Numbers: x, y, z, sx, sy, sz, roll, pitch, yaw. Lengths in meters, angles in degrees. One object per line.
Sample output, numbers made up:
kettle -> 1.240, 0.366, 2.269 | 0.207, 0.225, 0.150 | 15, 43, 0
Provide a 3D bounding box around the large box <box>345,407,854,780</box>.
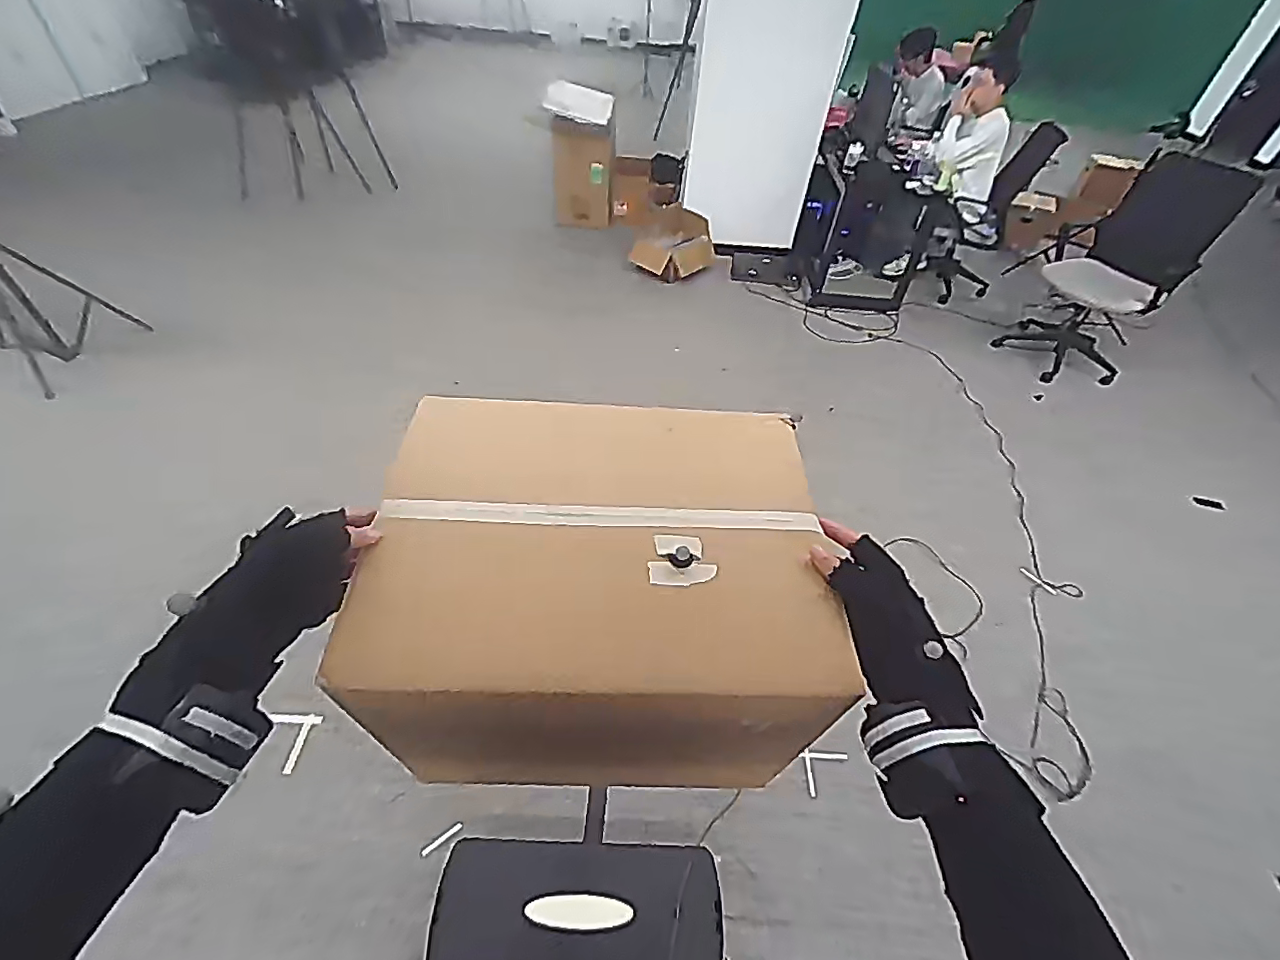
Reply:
large box -> -0.041, 0.138, 0.623 | 0.408, 0.320, 0.320 | 3, 50, -4
